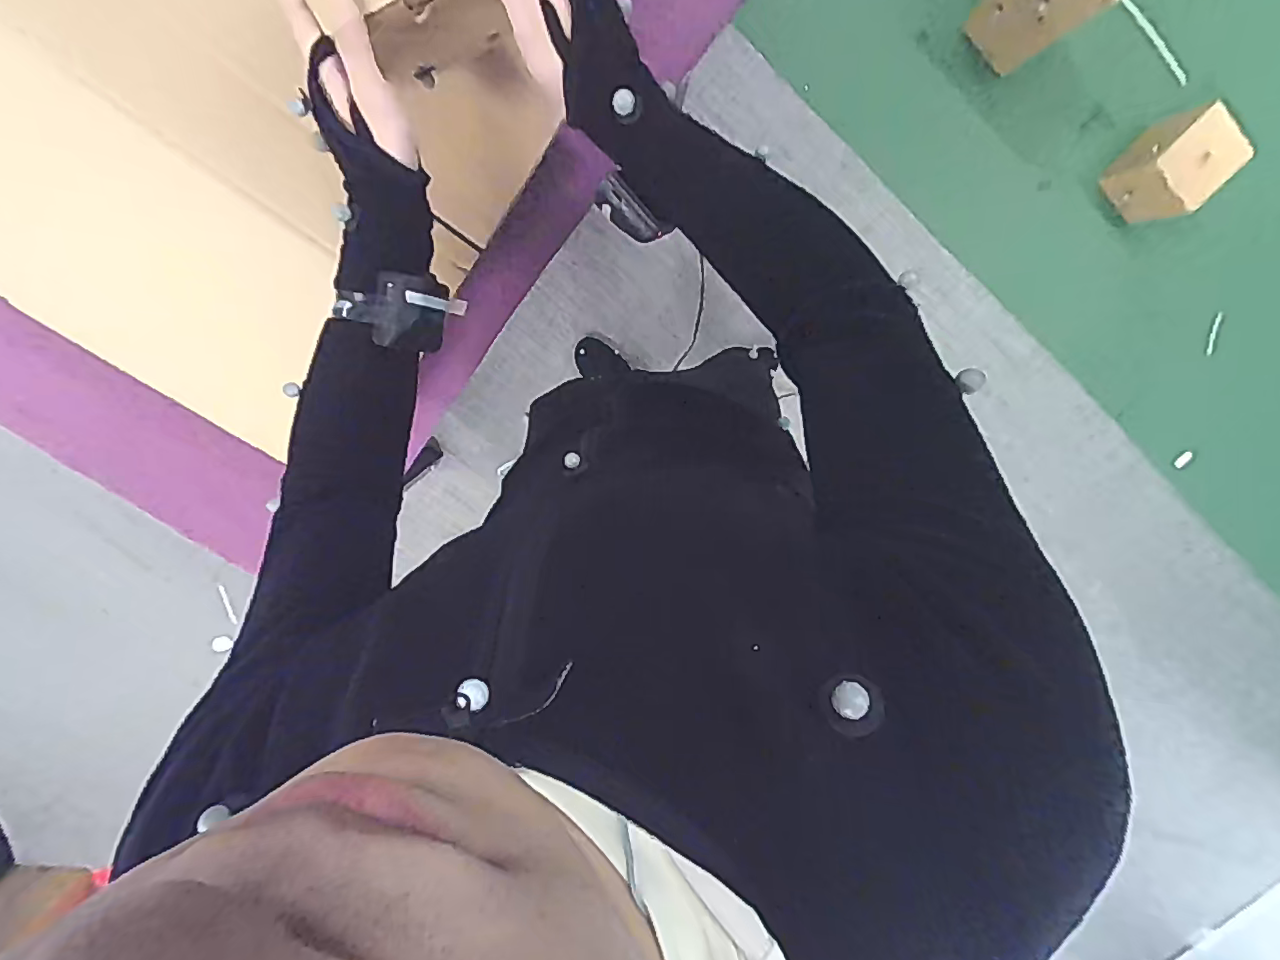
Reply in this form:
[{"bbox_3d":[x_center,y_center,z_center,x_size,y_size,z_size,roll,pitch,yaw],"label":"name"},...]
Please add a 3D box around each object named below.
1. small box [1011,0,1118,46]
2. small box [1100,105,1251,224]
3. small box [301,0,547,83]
[{"bbox_3d":[0.903,-1.046,1.089,0.168,0.176,0.179,41,101,-11],"label":"small box"},{"bbox_3d":[1.324,-0.776,1.351,0.168,0.176,0.179,39,103,-12],"label":"small box"},{"bbox_3d":[-0.179,-0.433,0.404,0.168,0.176,0.179,-21,113,3],"label":"small box"}]
